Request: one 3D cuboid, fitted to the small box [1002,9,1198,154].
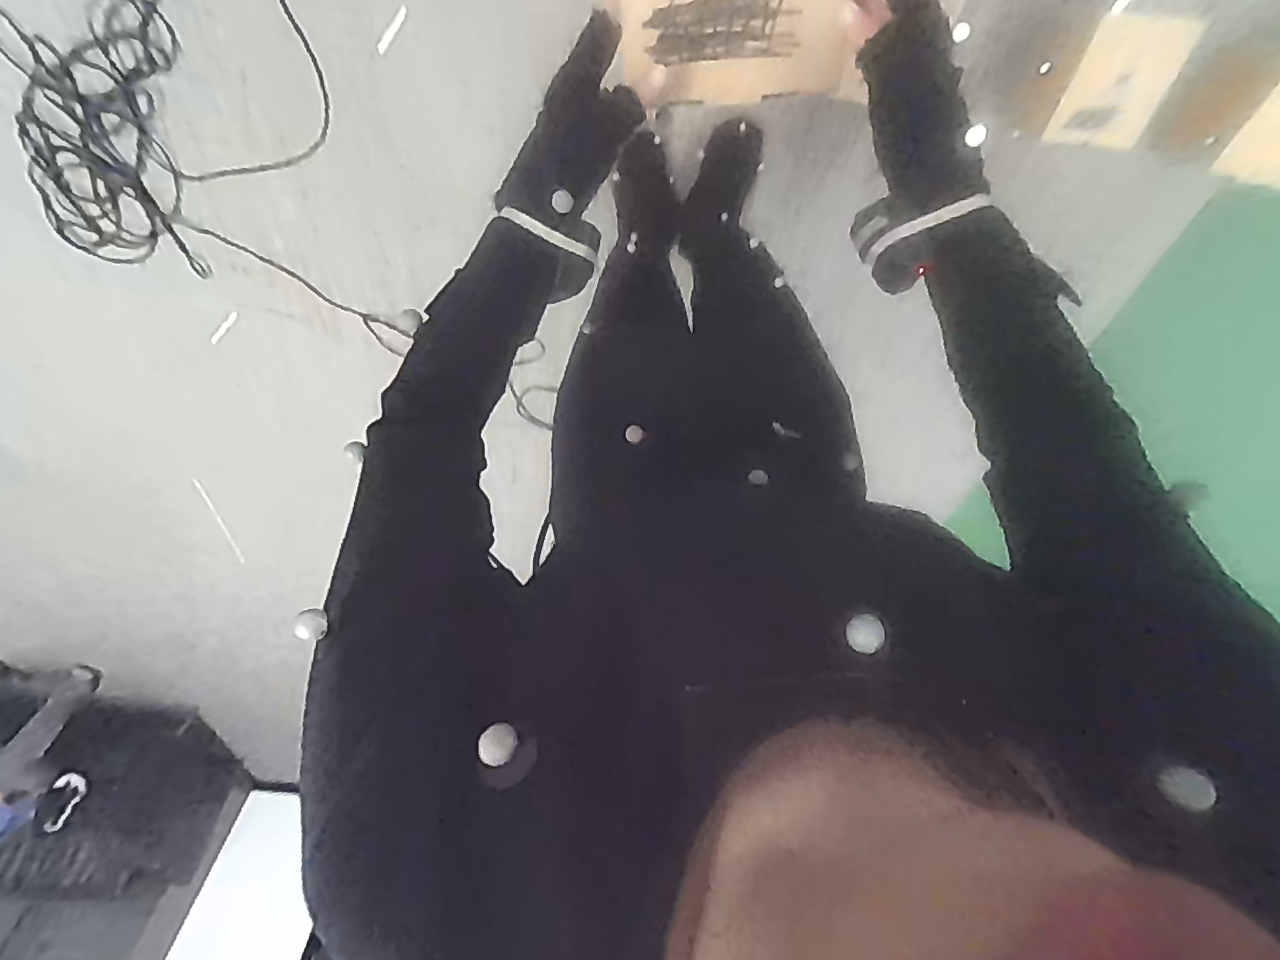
[{"bbox_3d":[0.778,-0.697,0.945,0.168,0.176,0.179,5,132,-2],"label":"small box"}]

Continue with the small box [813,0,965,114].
[{"bbox_3d":[0.407,-0.749,0.913,0.168,0.176,0.179,8,133,-3],"label":"small box"}]

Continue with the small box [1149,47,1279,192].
[{"bbox_3d":[1.097,-0.651,0.972,0.168,0.176,0.179,10,133,-5],"label":"small box"}]
